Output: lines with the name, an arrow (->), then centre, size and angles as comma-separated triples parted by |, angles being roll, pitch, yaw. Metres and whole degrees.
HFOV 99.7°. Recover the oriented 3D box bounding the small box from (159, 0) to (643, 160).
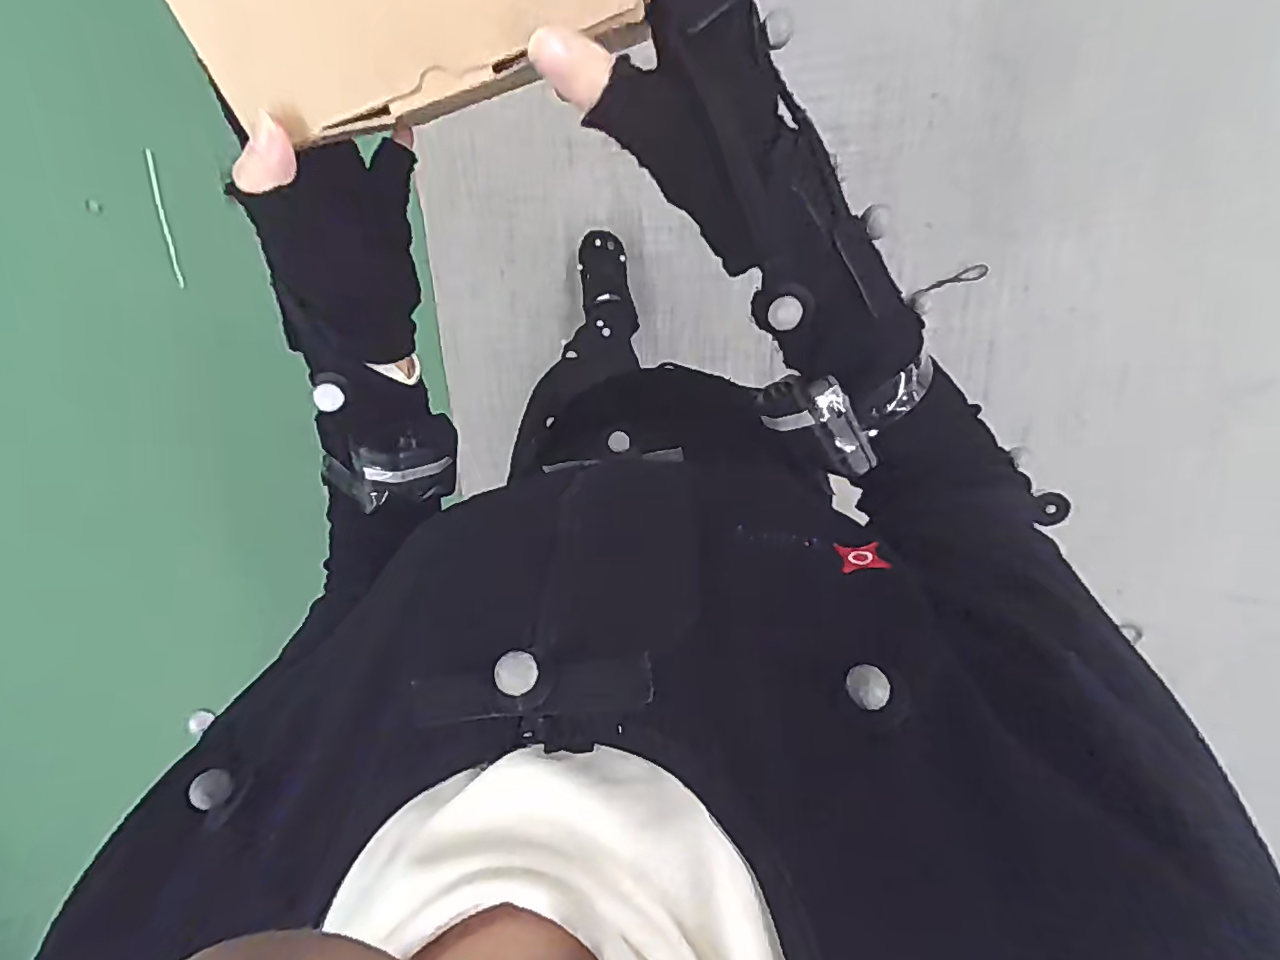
small box -> -0.100, -0.265, 0.217 | 0.168, 0.176, 0.179 | -14, 126, 15
